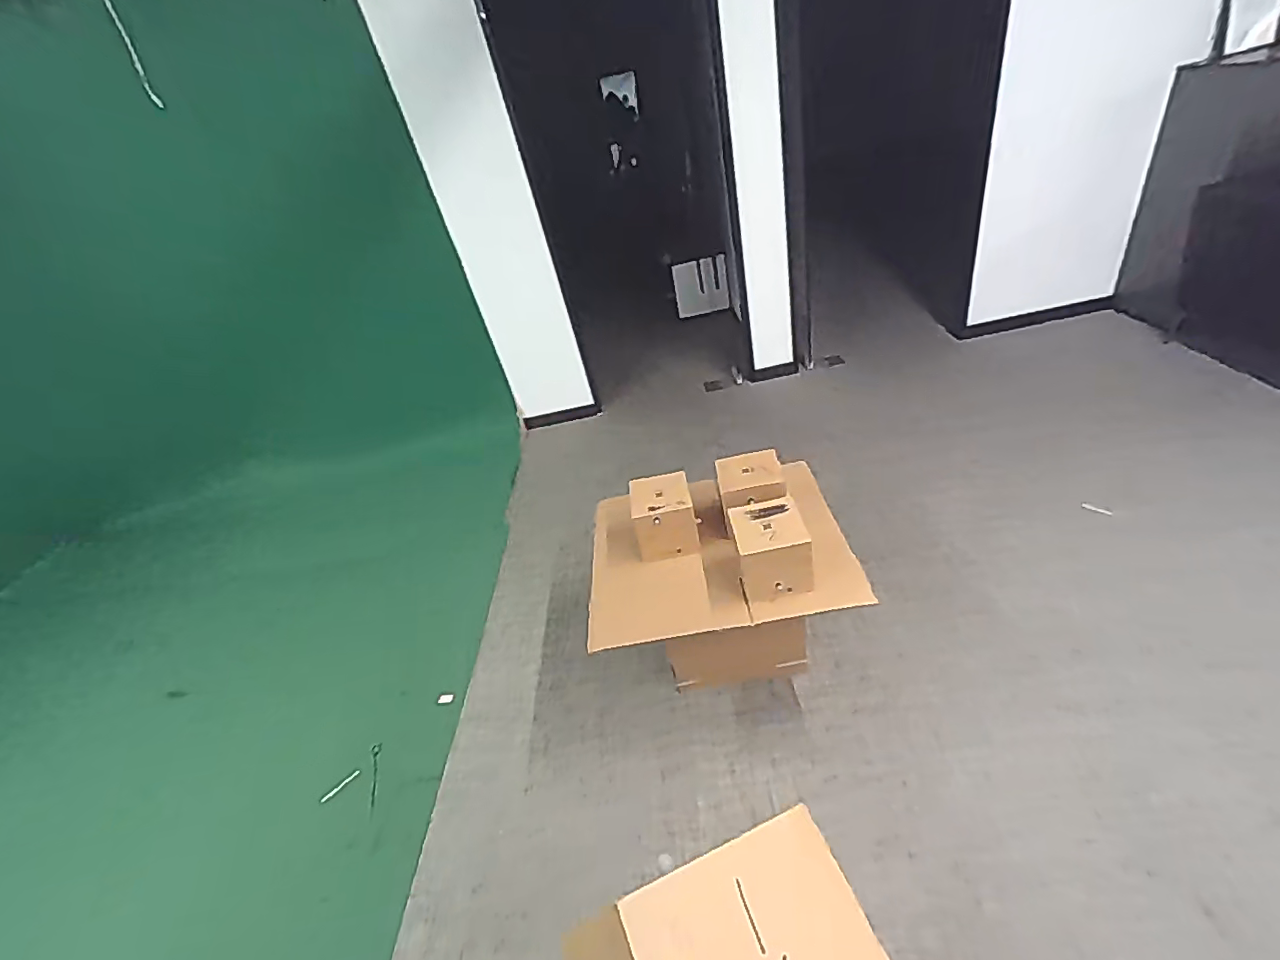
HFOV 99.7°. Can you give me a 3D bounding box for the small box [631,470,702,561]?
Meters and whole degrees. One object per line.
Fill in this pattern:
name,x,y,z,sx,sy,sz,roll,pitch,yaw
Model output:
small box,0.075,0.101,1.533,0.168,0.176,0.179,-14,33,6
